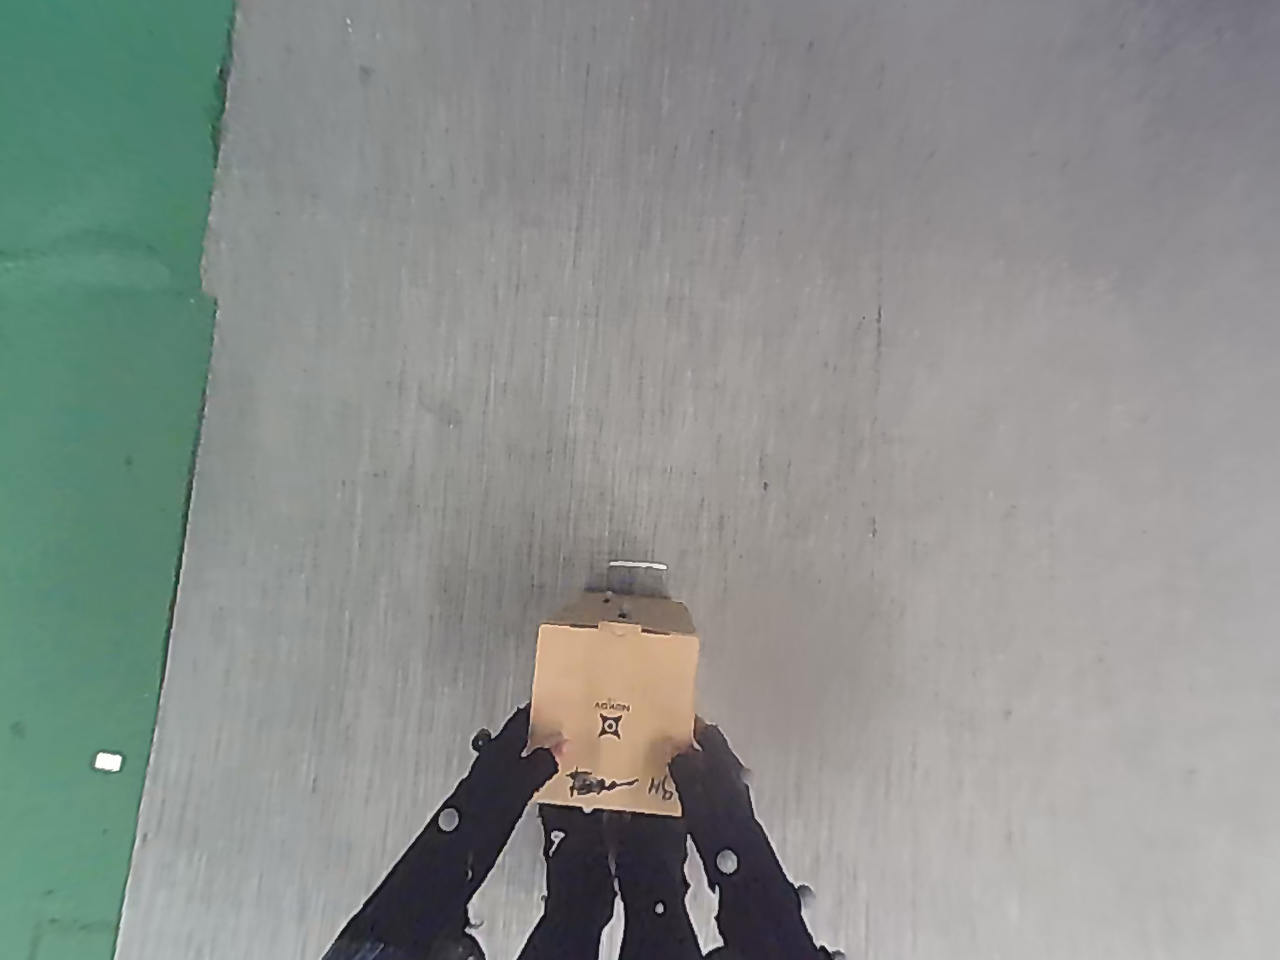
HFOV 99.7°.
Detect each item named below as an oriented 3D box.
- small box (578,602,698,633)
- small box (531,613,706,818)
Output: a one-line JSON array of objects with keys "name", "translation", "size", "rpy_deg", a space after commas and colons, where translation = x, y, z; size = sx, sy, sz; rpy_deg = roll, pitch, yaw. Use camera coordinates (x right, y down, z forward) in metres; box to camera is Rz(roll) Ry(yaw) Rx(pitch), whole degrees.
[{"name": "small box", "translation": [-0.010, 0.277, 0.785], "size": [0.168, 0.176, 0.179], "rpy_deg": [4, 83, 3]}, {"name": "small box", "translation": [-0.019, 0.252, 0.623], "size": [0.168, 0.176, 0.179], "rpy_deg": [4, 82, 2]}]
